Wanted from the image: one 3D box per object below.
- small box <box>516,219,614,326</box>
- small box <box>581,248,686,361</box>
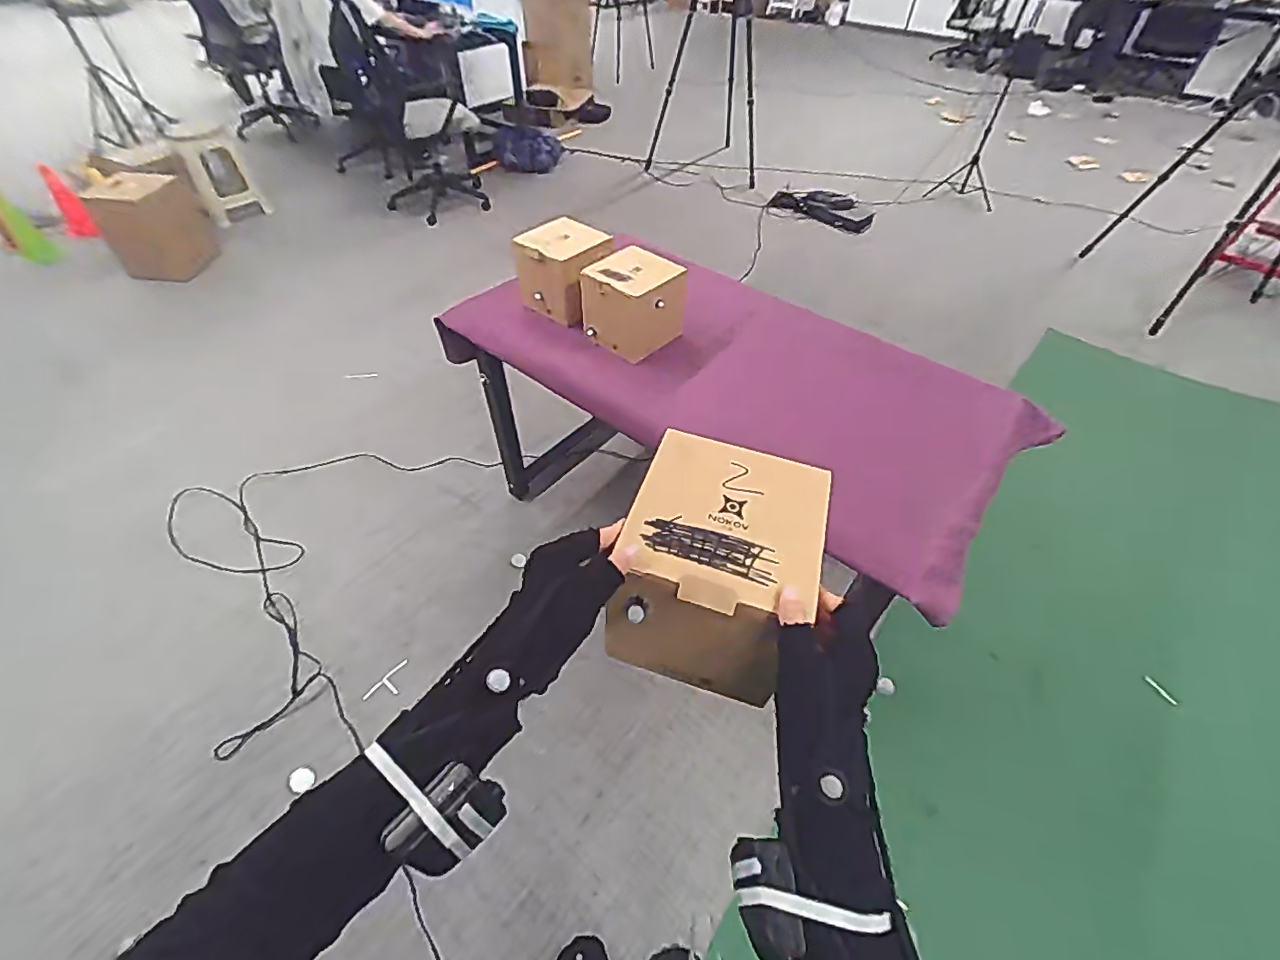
[{"bbox_3d":[-0.181,-0.513,1.340,0.168,0.176,0.179,32,55,25],"label":"small box"},{"bbox_3d":[-0.013,-0.403,1.248,0.168,0.176,0.179,34,55,25],"label":"small box"}]
